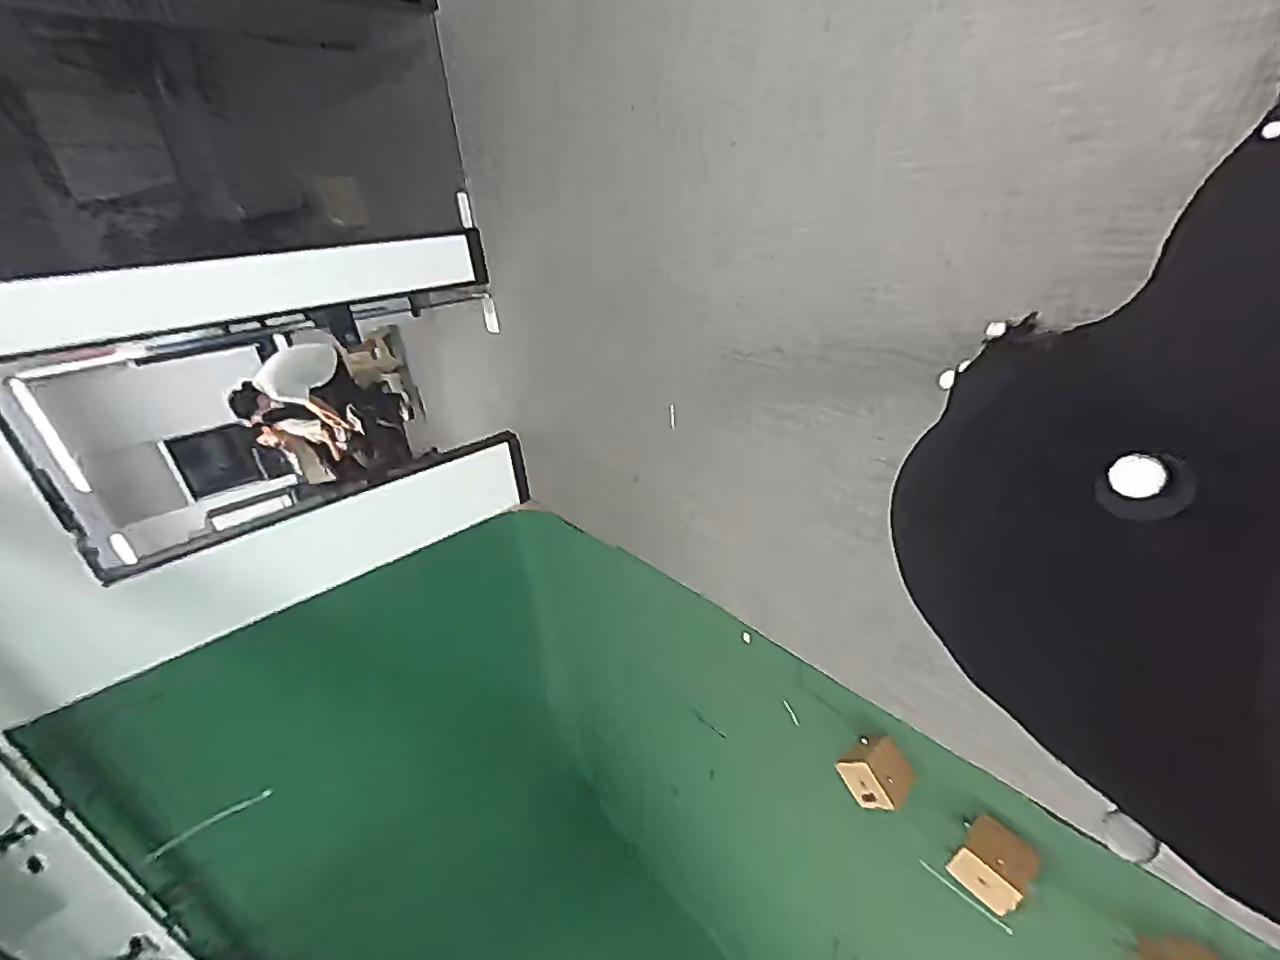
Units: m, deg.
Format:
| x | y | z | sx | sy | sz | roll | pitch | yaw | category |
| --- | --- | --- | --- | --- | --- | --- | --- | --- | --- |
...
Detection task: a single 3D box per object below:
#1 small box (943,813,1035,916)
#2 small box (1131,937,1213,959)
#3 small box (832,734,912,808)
| x | y | z | sx | sy | sz | roll | pitch | yaw | category |
| --- | --- | --- | --- | --- | --- | --- | --- | --- | --- |
| 1.123 | 1.228 | 1.736 | 0.179 | 0.176 | 0.168 | 34 | 134 | 38 | small box |
| 1.429 | 1.346 | 1.413 | 0.168 | 0.176 | 0.179 | 52 | 142 | 17 | small box |
| 0.855 | 1.064 | 1.983 | 0.179 | 0.176 | 0.168 | 57 | 145 | 12 | small box |
